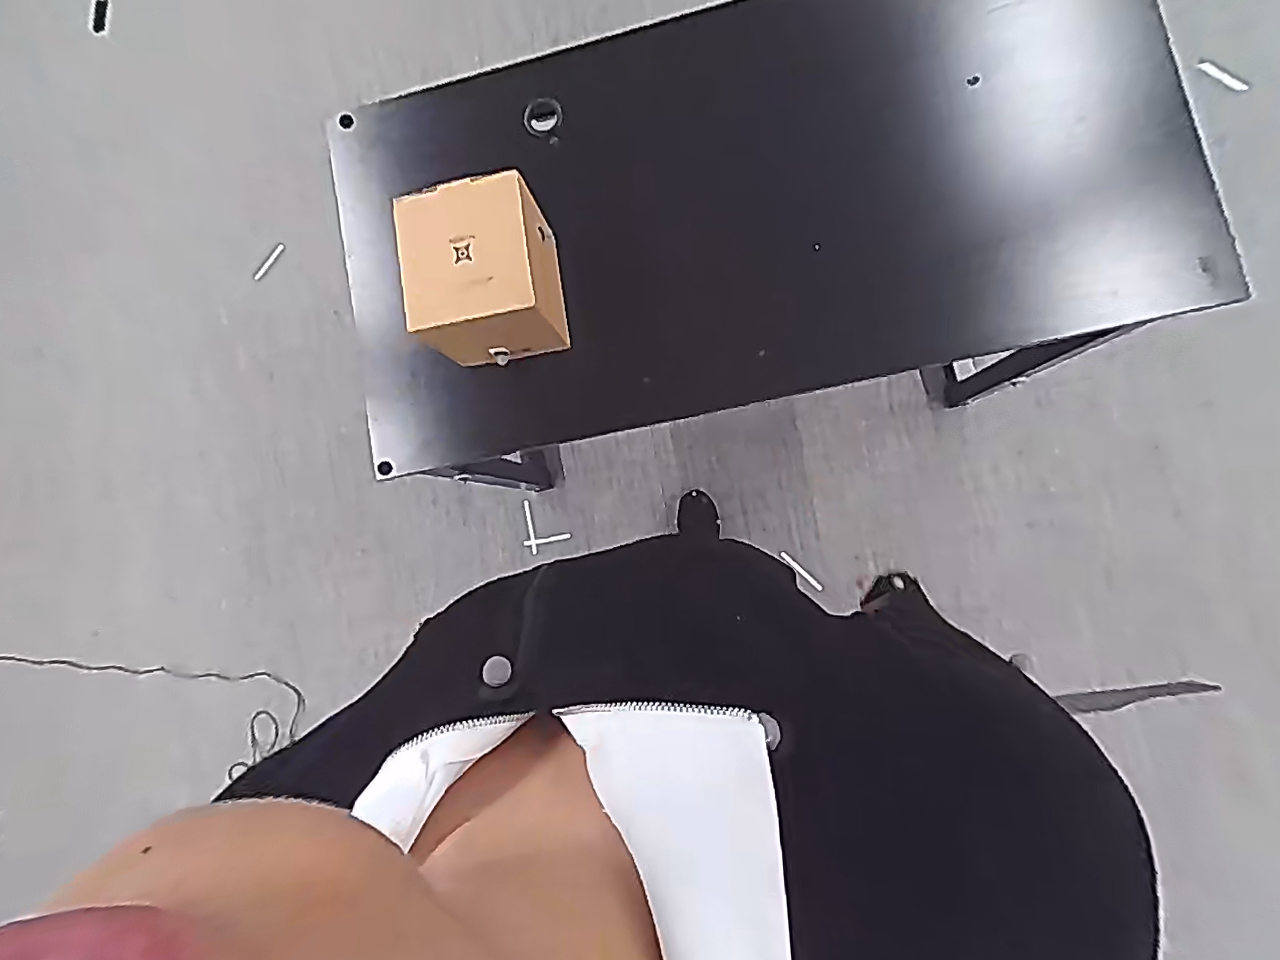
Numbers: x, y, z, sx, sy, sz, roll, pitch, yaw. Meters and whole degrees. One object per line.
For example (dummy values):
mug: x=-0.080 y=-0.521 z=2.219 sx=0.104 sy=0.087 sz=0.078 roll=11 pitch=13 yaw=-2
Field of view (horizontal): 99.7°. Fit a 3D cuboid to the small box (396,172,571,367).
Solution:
small box: x=-0.202 y=-0.272 z=0.736 sx=0.168 sy=0.176 sz=0.179 roll=-10 pitch=86 yaw=7
